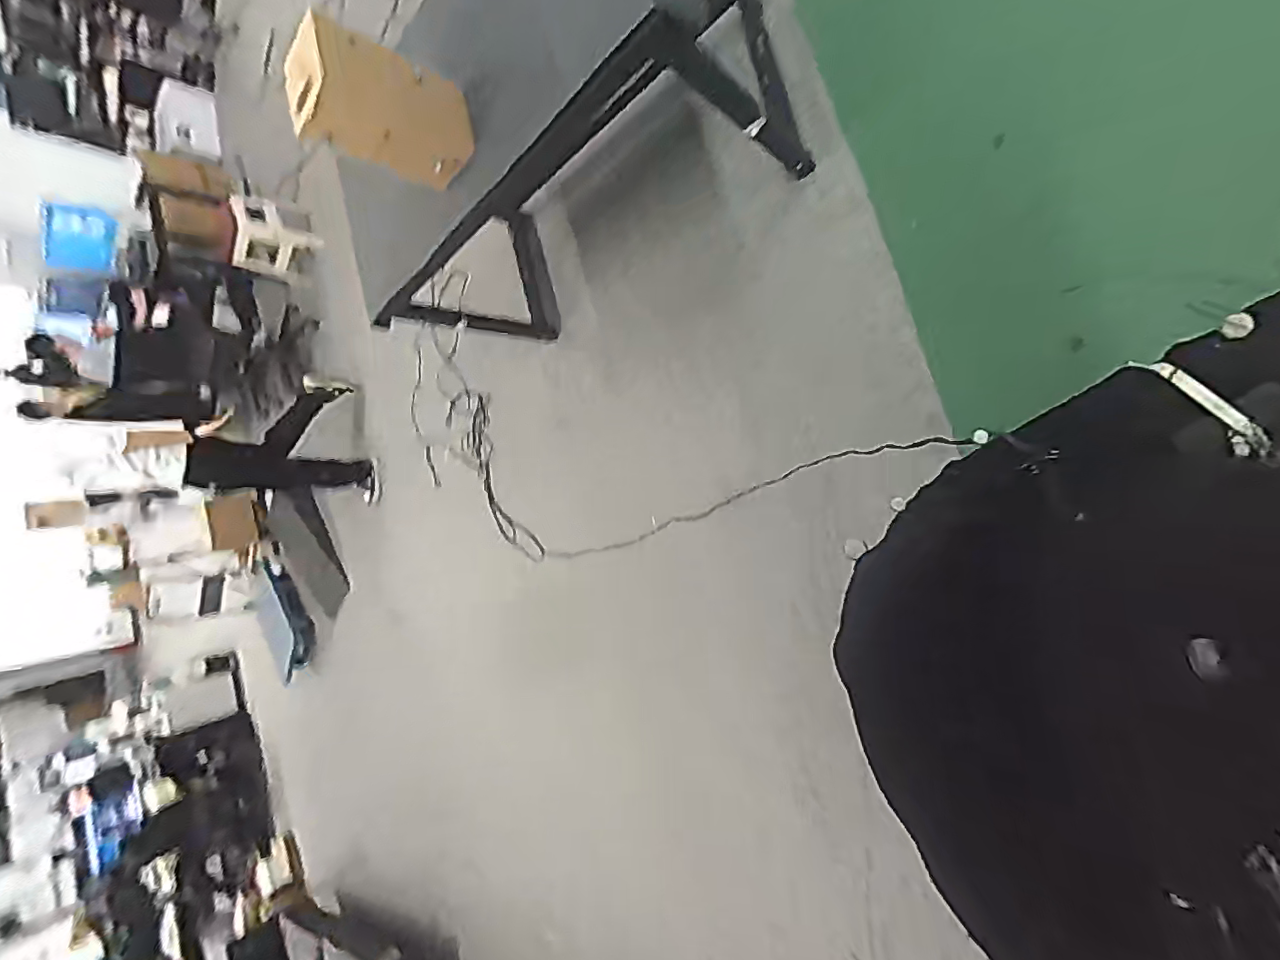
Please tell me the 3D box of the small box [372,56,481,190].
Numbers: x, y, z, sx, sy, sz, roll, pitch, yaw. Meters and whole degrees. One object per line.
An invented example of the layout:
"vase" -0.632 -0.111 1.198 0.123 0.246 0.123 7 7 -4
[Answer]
"small box" -0.504 -0.833 1.283 0.168 0.176 0.179 -21 80 40
